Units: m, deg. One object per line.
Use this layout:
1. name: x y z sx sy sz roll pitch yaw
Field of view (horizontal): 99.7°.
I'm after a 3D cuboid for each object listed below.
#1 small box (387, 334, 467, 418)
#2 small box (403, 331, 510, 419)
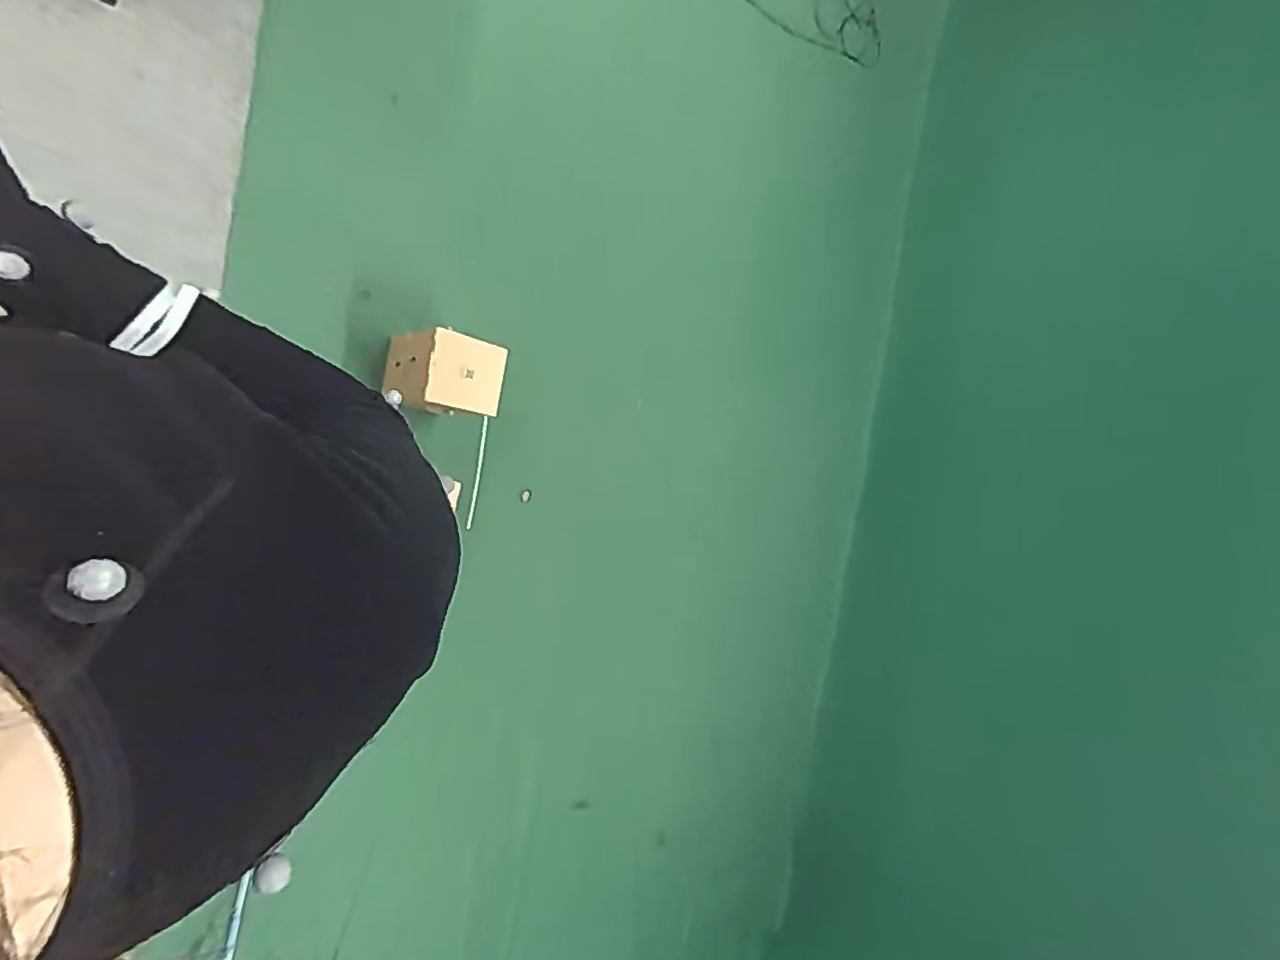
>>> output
1. small box: -0.545 -0.266 1.415 0.168 0.176 0.179 10 89 -43
2. small box: -0.439 -0.246 1.292 0.179 0.176 0.168 10 90 -42
